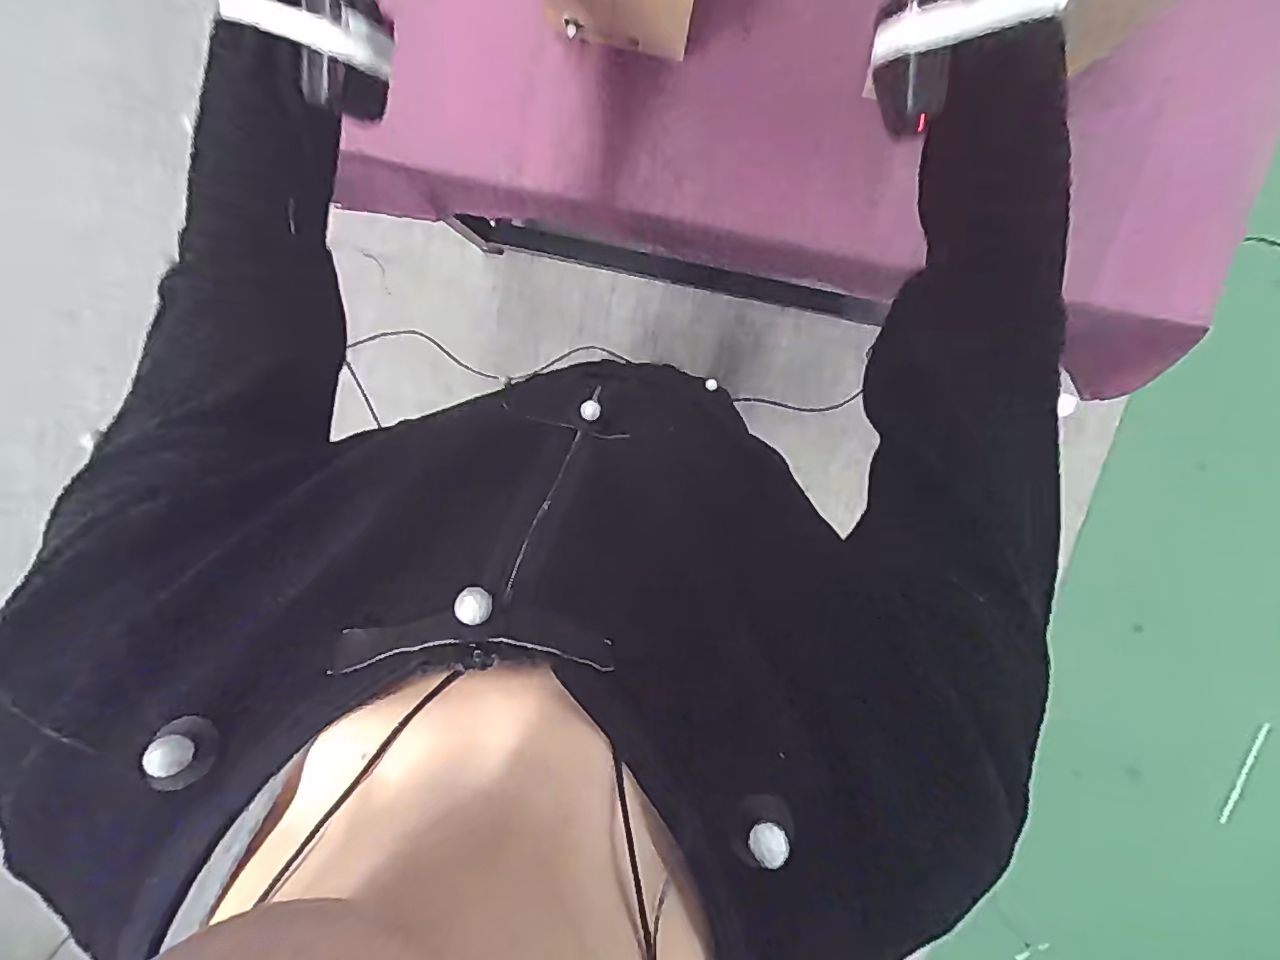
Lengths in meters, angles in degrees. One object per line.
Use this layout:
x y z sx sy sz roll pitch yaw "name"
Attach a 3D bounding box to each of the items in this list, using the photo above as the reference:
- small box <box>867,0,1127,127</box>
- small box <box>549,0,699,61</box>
0.378 -0.511 0.576 0.179 0.176 0.168 12 101 -2 "small box"
-0.008 -0.587 0.563 0.168 0.176 0.179 11 101 -3 "small box"
